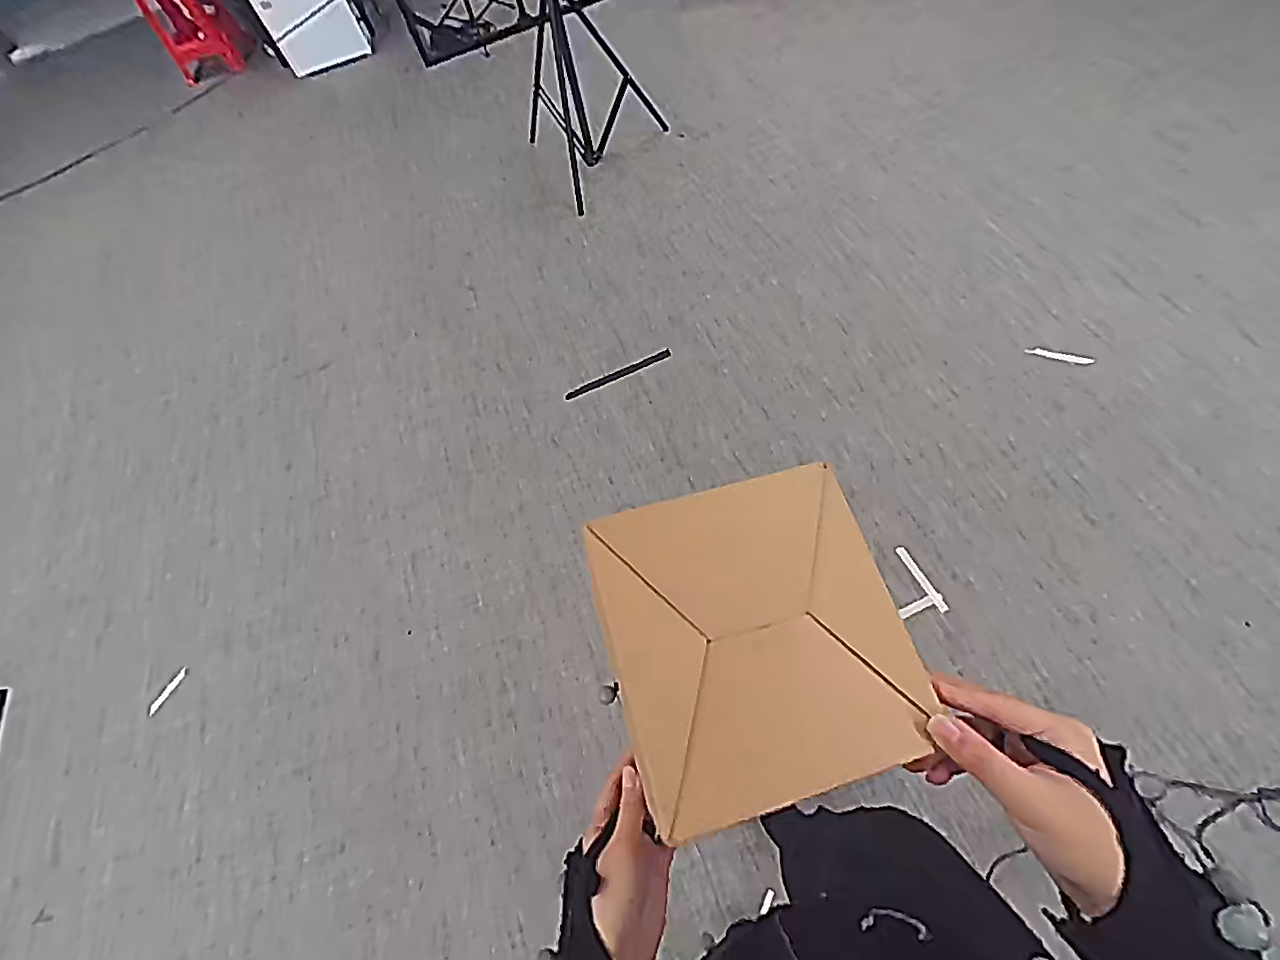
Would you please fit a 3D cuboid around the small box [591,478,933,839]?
[{"bbox_3d":[0.065,0.118,0.384,0.168,0.176,0.179,-14,67,-9],"label":"small box"}]
